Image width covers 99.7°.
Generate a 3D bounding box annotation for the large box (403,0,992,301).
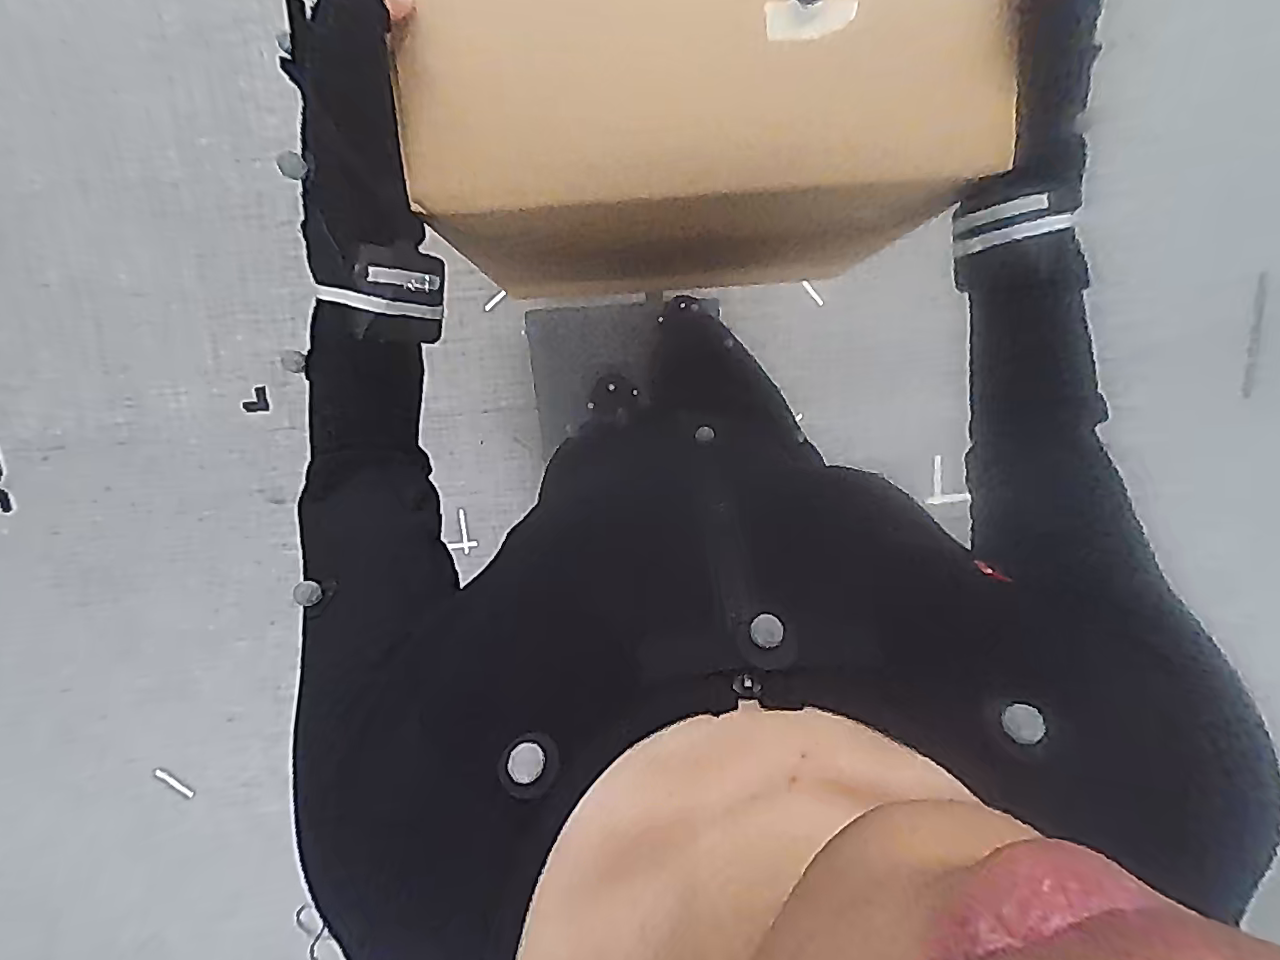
[{"bbox_3d":[0.033,-0.372,0.508,0.408,0.320,0.320,-5,98,-1],"label":"large box"}]
